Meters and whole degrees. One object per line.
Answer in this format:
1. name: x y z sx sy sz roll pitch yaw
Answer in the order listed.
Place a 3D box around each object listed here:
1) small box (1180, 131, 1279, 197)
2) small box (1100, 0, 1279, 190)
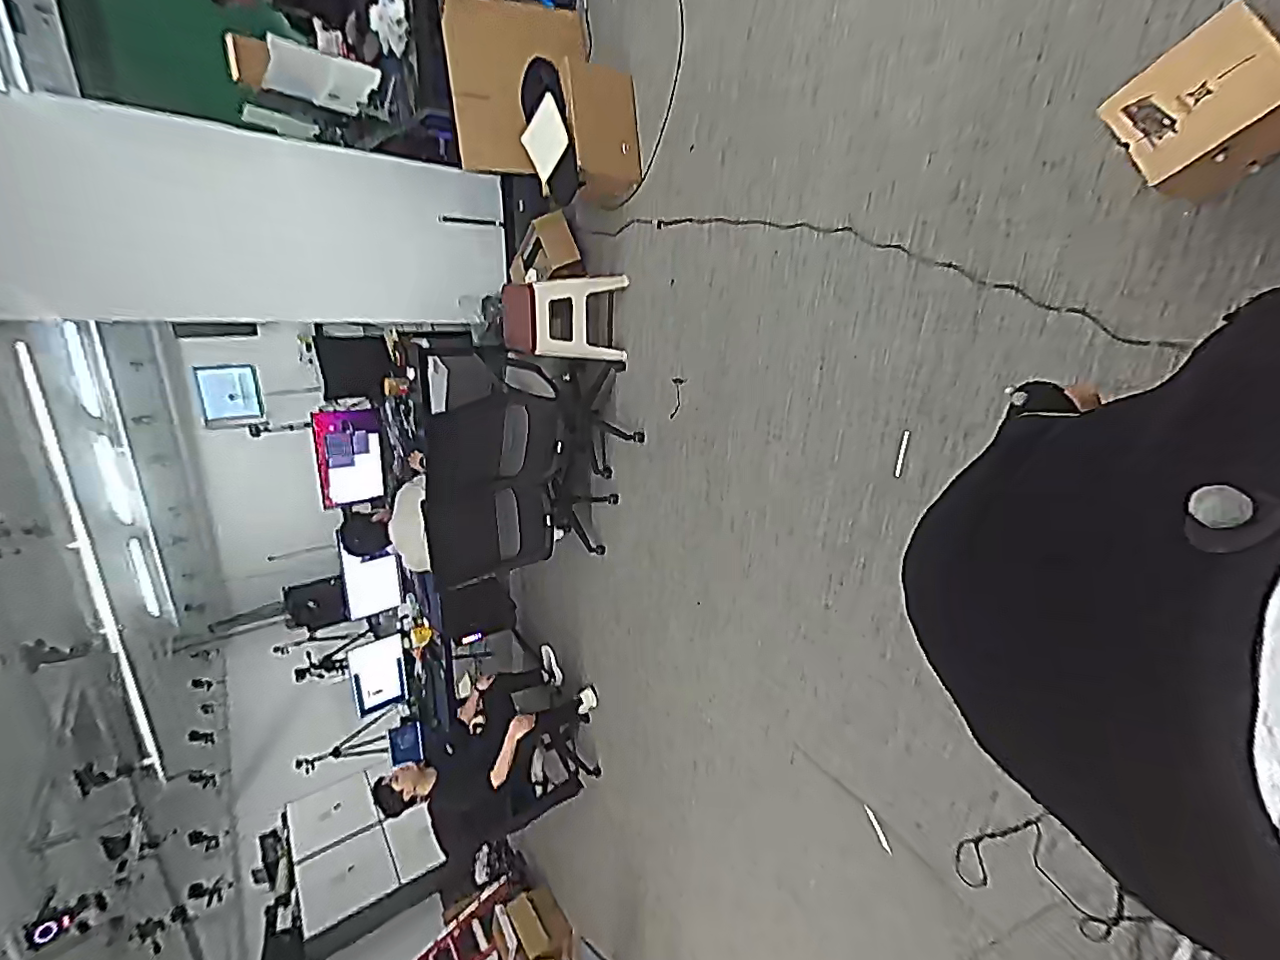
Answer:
1. small box: 1.013 -0.629 0.940 0.179 0.176 0.168 -40 68 51
2. small box: 0.883 -0.588 0.844 0.179 0.176 0.168 -38 70 52
